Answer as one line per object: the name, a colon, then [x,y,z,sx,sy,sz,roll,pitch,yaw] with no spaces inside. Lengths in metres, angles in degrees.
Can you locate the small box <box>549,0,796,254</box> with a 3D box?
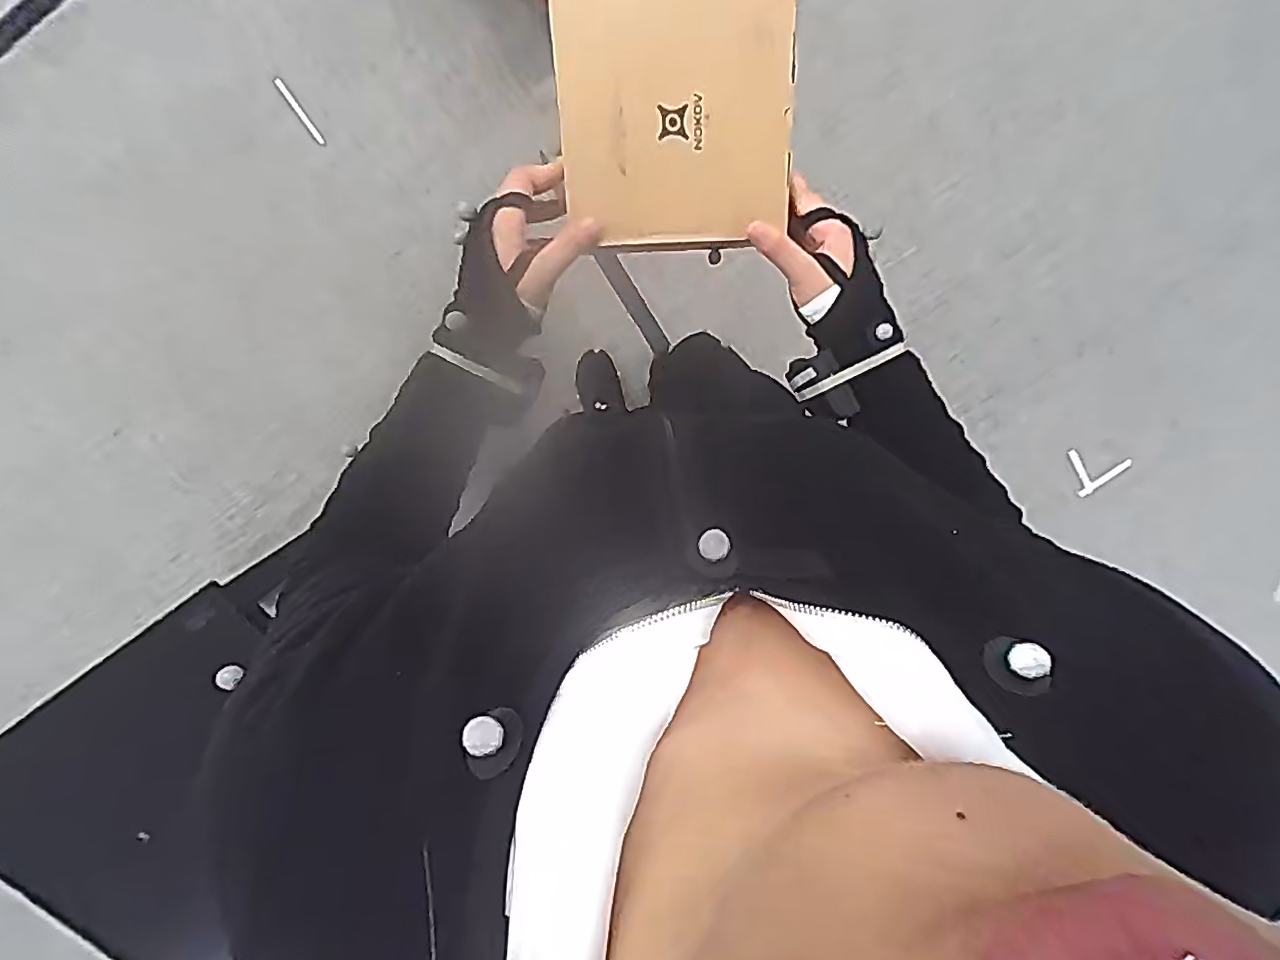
small box: [0.021,-0.294,0.475,0.179,0.176,0.168,-4,110,-2]
